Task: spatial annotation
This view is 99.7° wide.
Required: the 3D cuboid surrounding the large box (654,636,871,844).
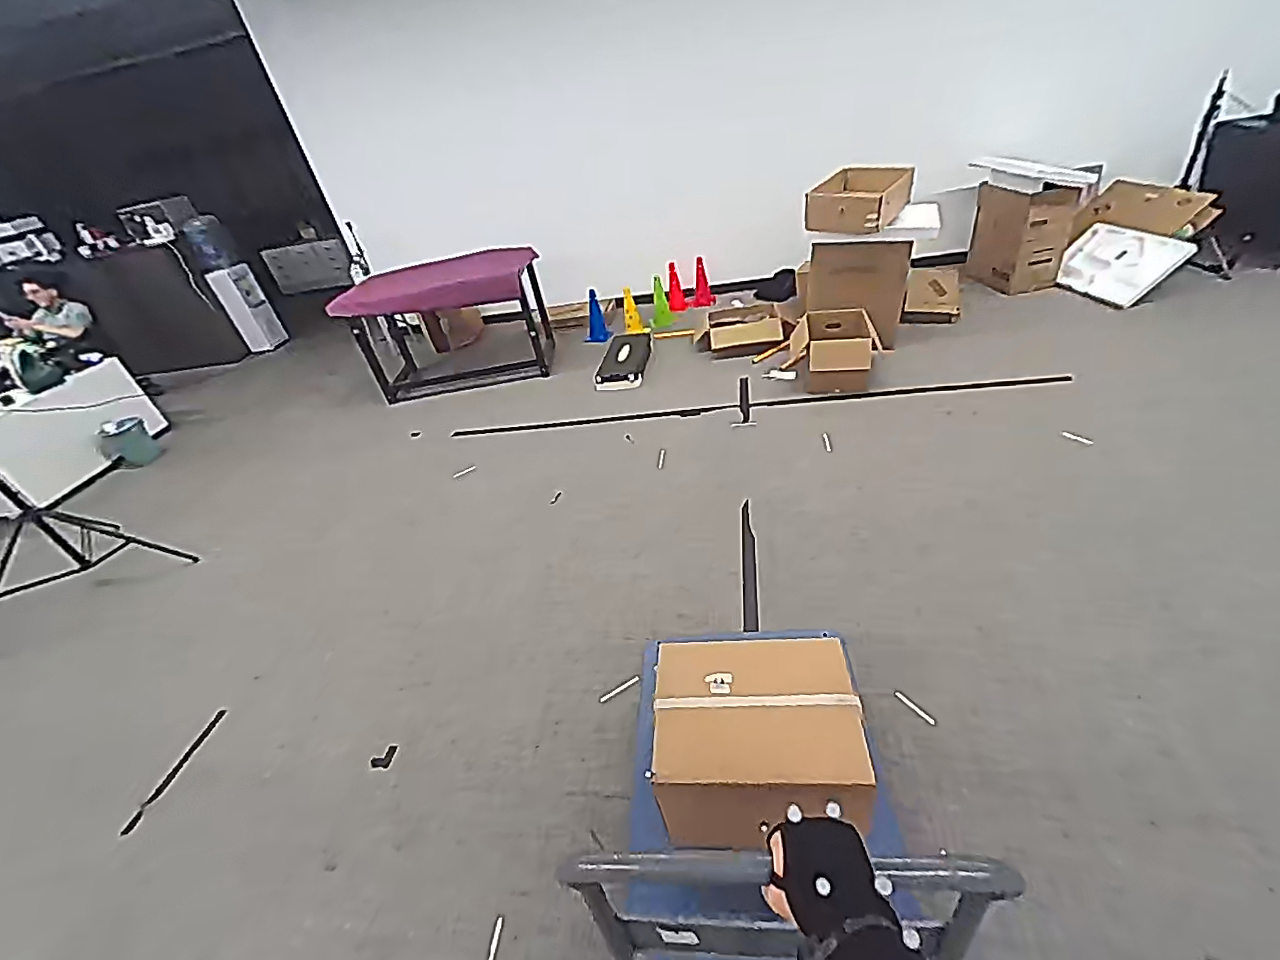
[{"bbox_3d":[0.259,0.581,1.205,0.408,0.320,0.320,-7,35,9],"label":"large box"}]
